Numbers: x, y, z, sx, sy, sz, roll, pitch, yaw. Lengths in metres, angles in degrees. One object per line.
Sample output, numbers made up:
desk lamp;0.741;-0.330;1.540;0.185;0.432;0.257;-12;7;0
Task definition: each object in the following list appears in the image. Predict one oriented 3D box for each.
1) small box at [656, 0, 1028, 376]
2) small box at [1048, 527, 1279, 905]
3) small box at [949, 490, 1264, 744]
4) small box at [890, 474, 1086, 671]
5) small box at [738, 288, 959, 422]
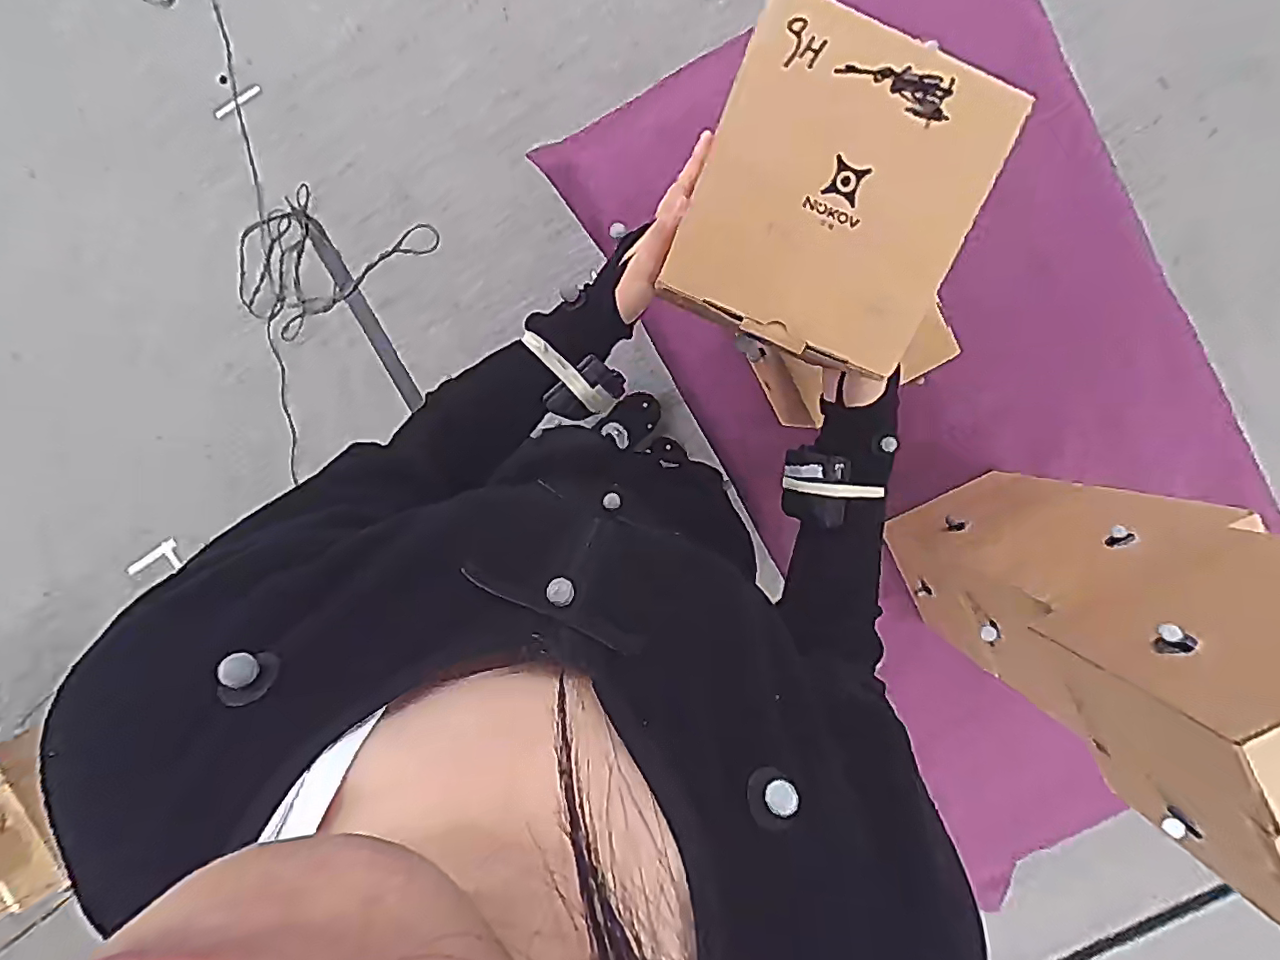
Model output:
small box;0.119;-0.196;0.401;0.168;0.176;0.179;20;106;-6
small box;0.426;0.152;0.363;0.179;0.176;0.168;-30;95;4
small box;0.448;0.123;0.523;0.179;0.176;0.168;-26;95;4
small box;0.447;0.104;0.686;0.179;0.176;0.168;-26;95;3
small box;0.233;-0.179;0.661;0.179;0.176;0.168;-28;95;3
